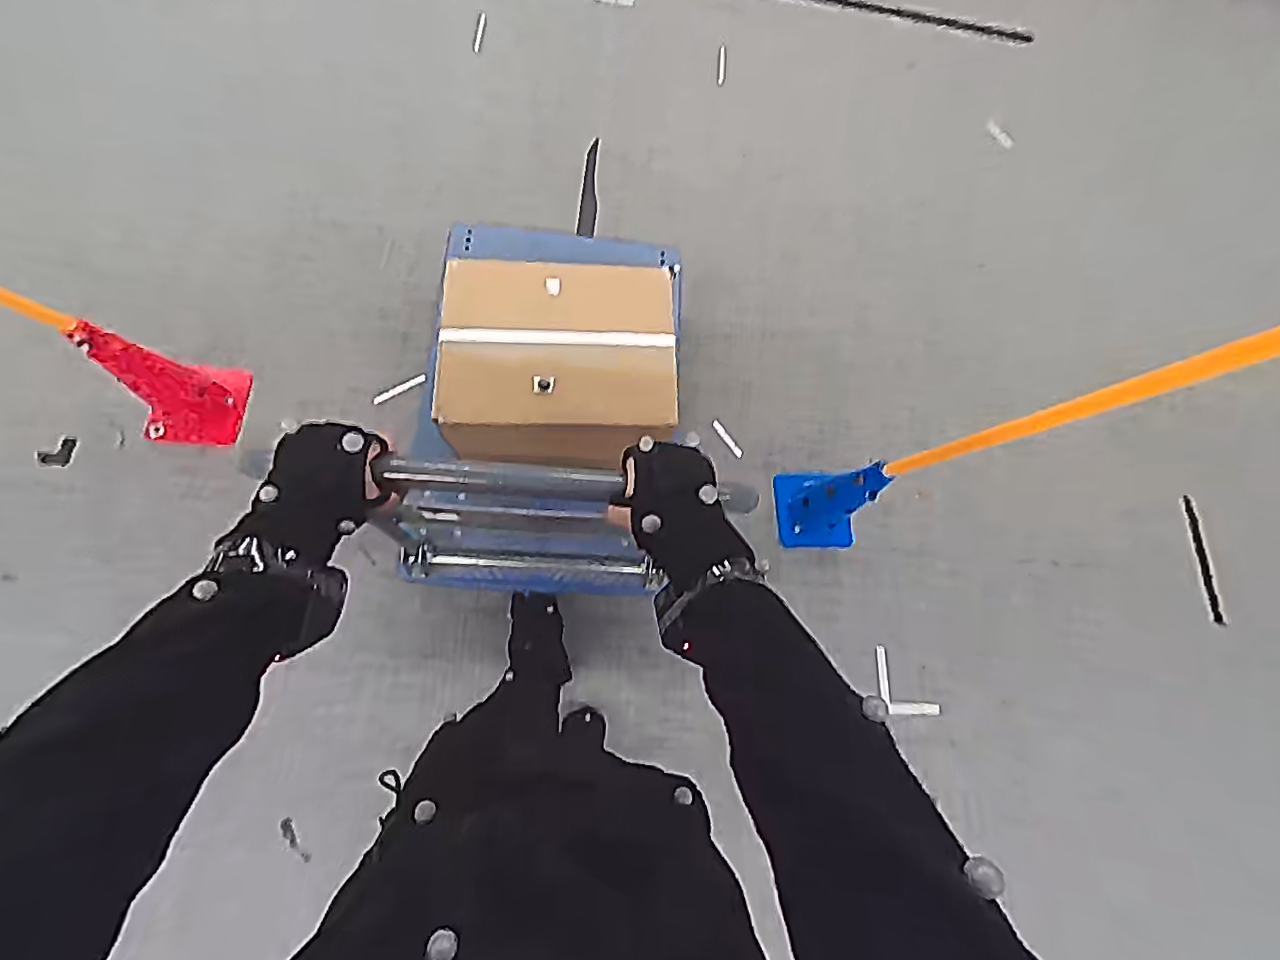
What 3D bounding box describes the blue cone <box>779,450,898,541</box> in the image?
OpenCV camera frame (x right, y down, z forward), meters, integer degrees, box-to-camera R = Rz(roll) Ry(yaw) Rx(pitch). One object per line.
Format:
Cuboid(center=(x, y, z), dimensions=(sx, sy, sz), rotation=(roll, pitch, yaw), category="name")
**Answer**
Cuboid(center=(0.484, 0.019, 1.265), dimensions=(0.193, 0.380, 0.192), rotation=(2, 73, -7), category="blue cone")
